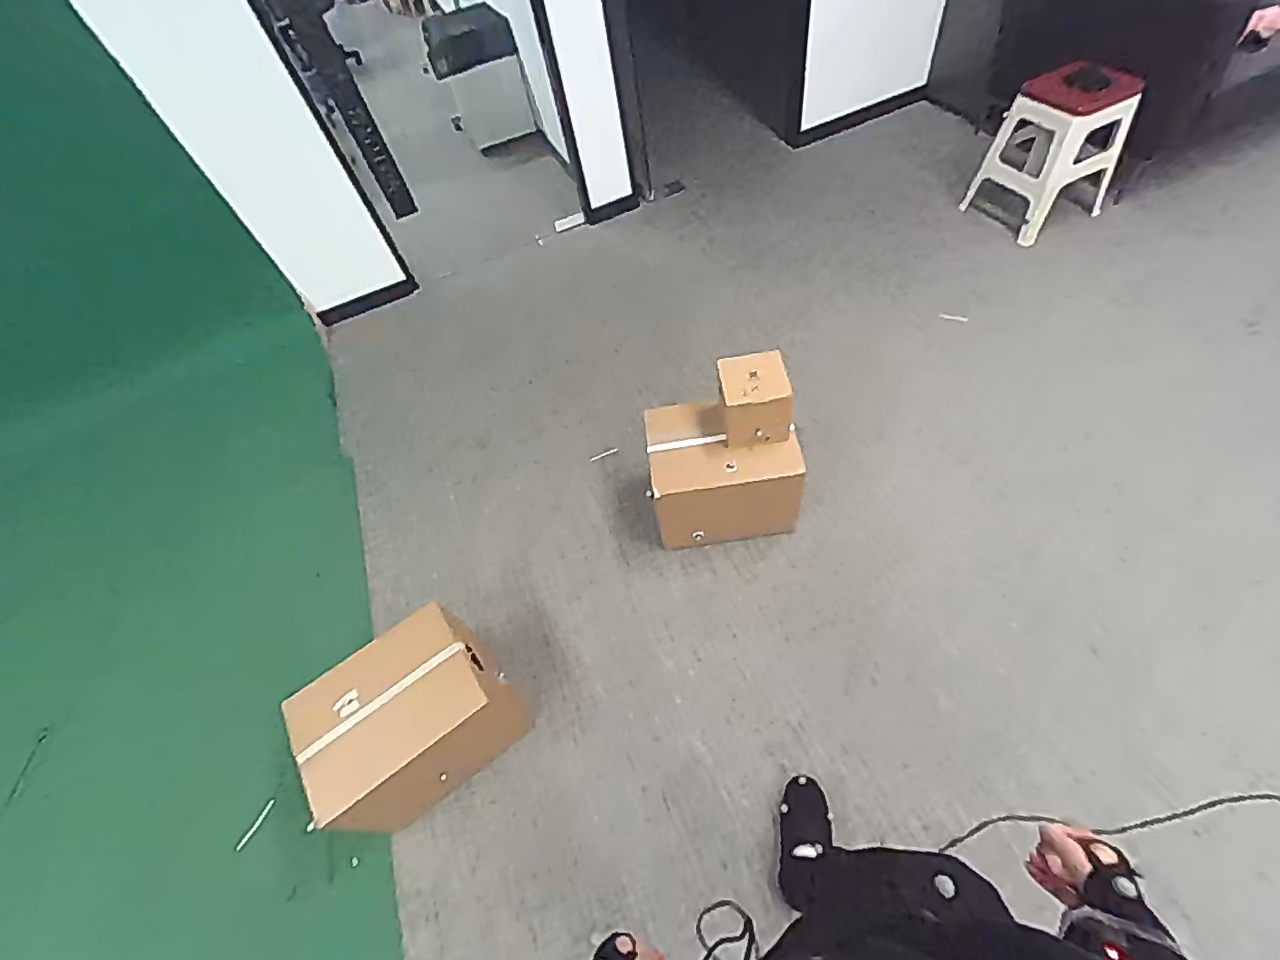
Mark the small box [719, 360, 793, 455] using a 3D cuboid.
[{"bbox_3d":[0.301,-0.190,1.438,0.168,0.176,0.179,-8,52,5],"label":"small box"}]

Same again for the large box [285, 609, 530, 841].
[{"bbox_3d":[-0.549,0.602,1.328,0.408,0.320,0.320,-35,55,-13],"label":"large box"}]
